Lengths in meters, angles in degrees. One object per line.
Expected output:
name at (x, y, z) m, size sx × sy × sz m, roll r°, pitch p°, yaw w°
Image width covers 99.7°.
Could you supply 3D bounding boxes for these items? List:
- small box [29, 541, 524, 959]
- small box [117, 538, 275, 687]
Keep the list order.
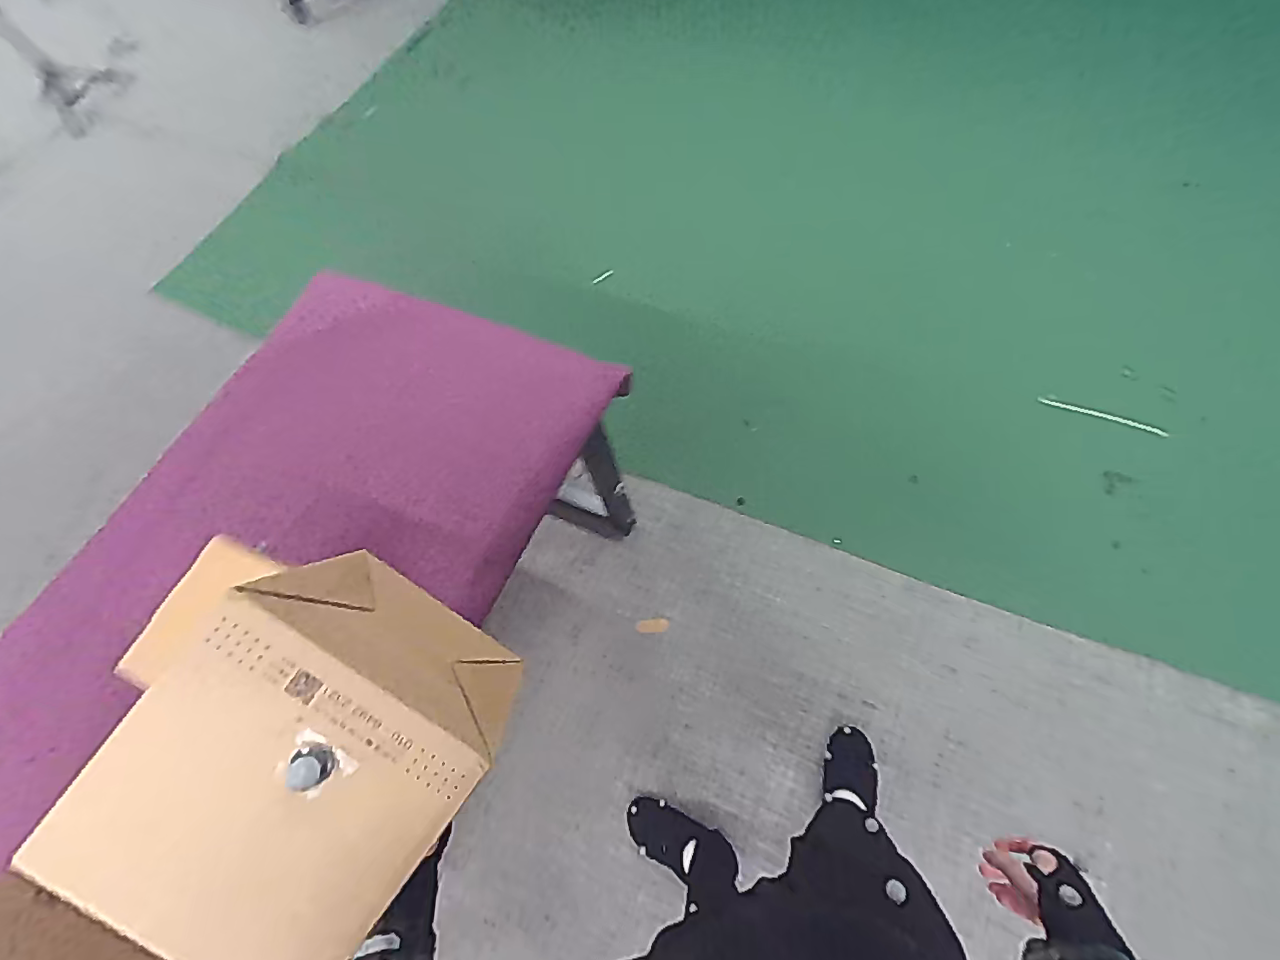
small box at (-0.193, 0.156, 0.357) m, size 0.168 × 0.179 × 0.176 m, roll 36°, pitch 85°, yaw -4°
small box at (-0.455, 0.197, 0.669) m, size 0.179 × 0.176 × 0.168 m, roll 18°, pitch 68°, yaw 17°
